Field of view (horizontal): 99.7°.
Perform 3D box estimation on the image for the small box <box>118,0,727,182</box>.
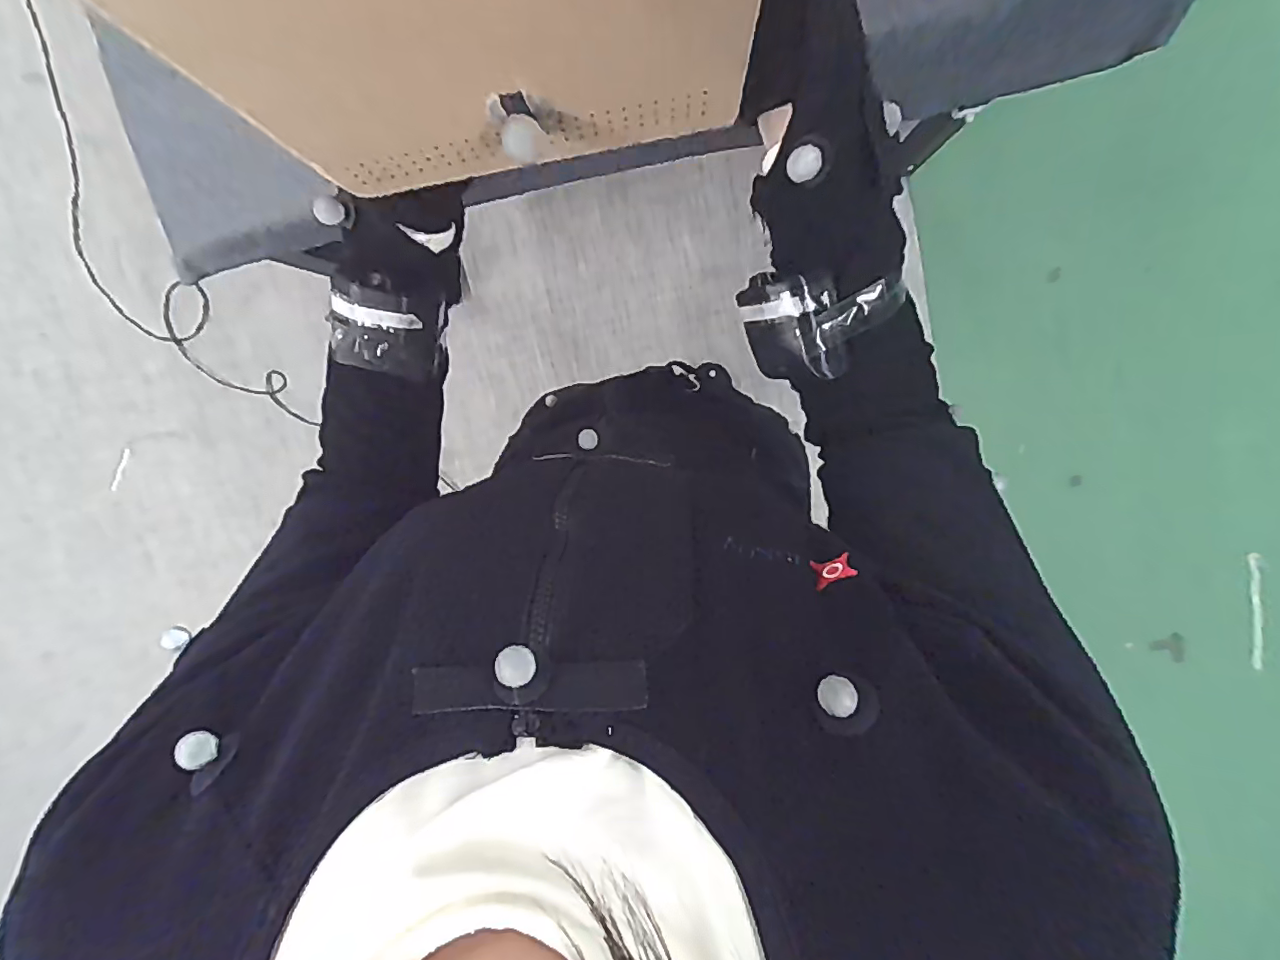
[{"bbox_3d":[-0.065,-0.220,0.160,0.179,0.176,0.168,-9,93,4],"label":"small box"}]
